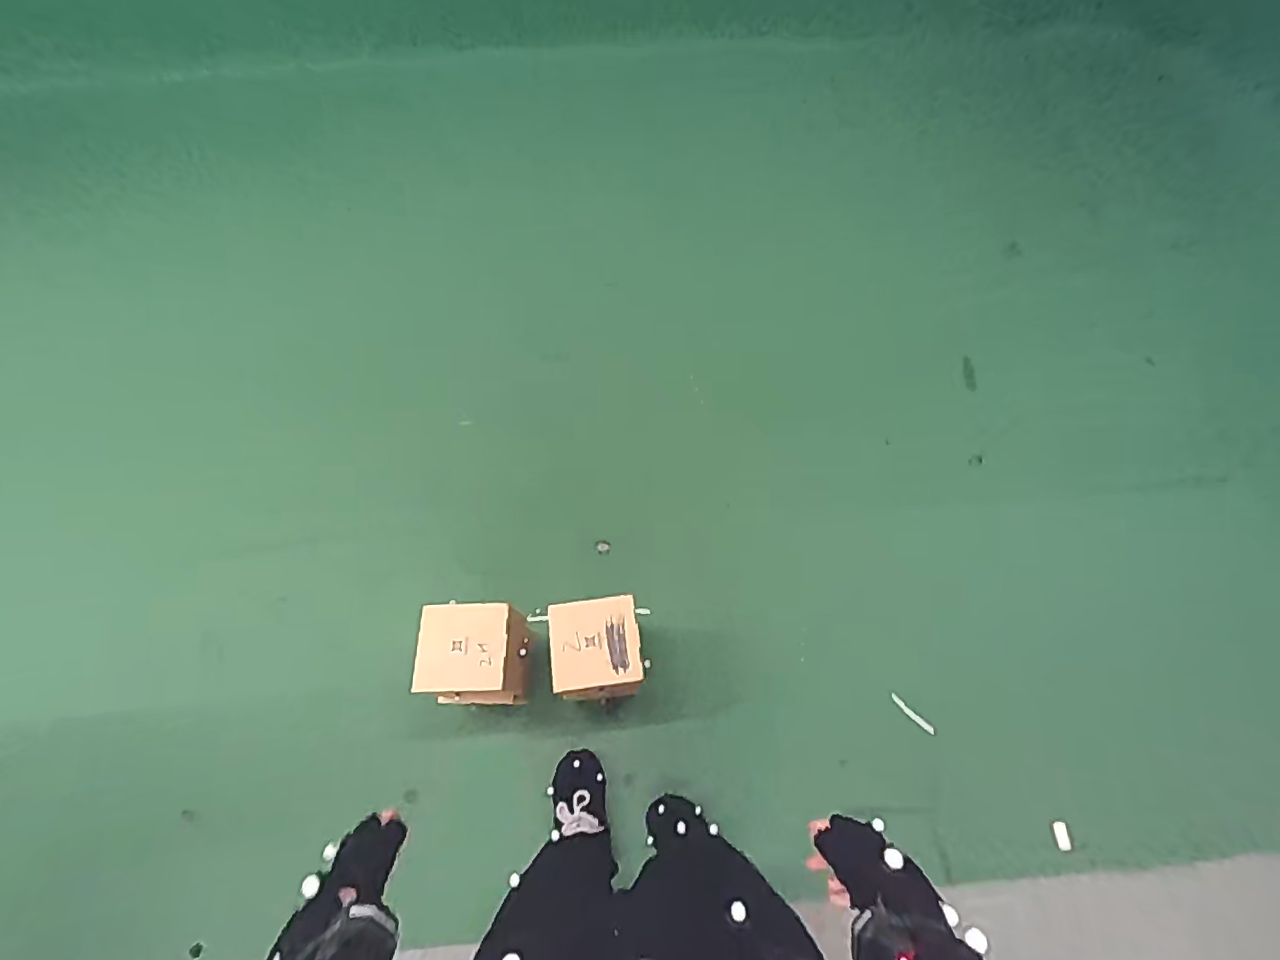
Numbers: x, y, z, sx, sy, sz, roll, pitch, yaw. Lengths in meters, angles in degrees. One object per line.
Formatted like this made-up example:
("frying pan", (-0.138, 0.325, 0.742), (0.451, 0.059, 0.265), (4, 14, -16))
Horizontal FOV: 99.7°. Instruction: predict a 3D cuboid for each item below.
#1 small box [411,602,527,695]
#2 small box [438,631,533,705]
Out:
("small box", (-0.345, 0.354, 1.123), (0.179, 0.176, 0.168), (-1, 65, 1))
("small box", (-0.353, 0.432, 1.270), (0.168, 0.176, 0.179), (0, 65, 1))
